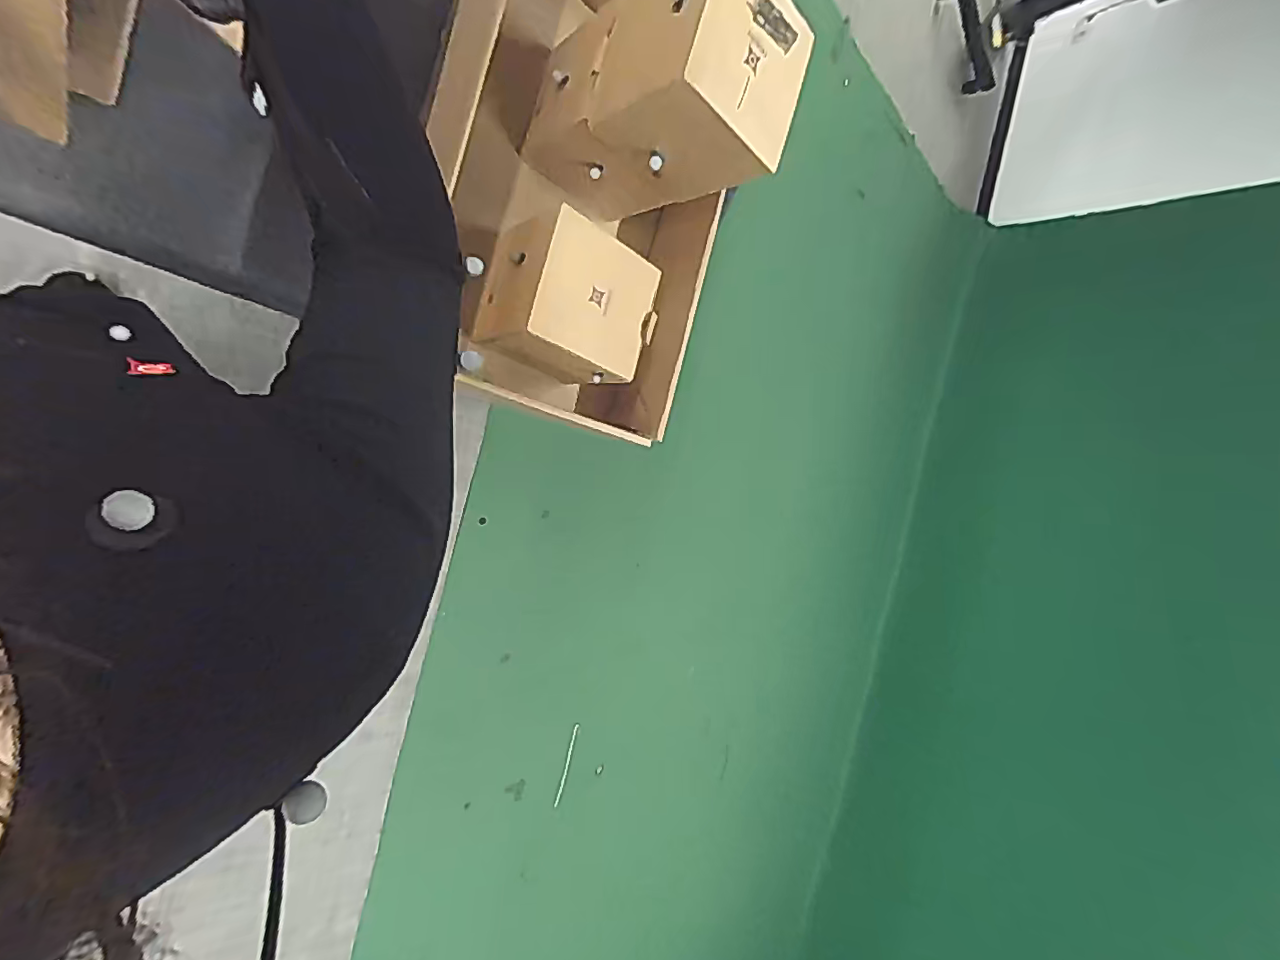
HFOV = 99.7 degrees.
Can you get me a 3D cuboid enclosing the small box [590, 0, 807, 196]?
[{"bbox_3d":[0.065,-0.475,0.642,0.168,0.176,0.179,17,90,-43],"label":"small box"}]
